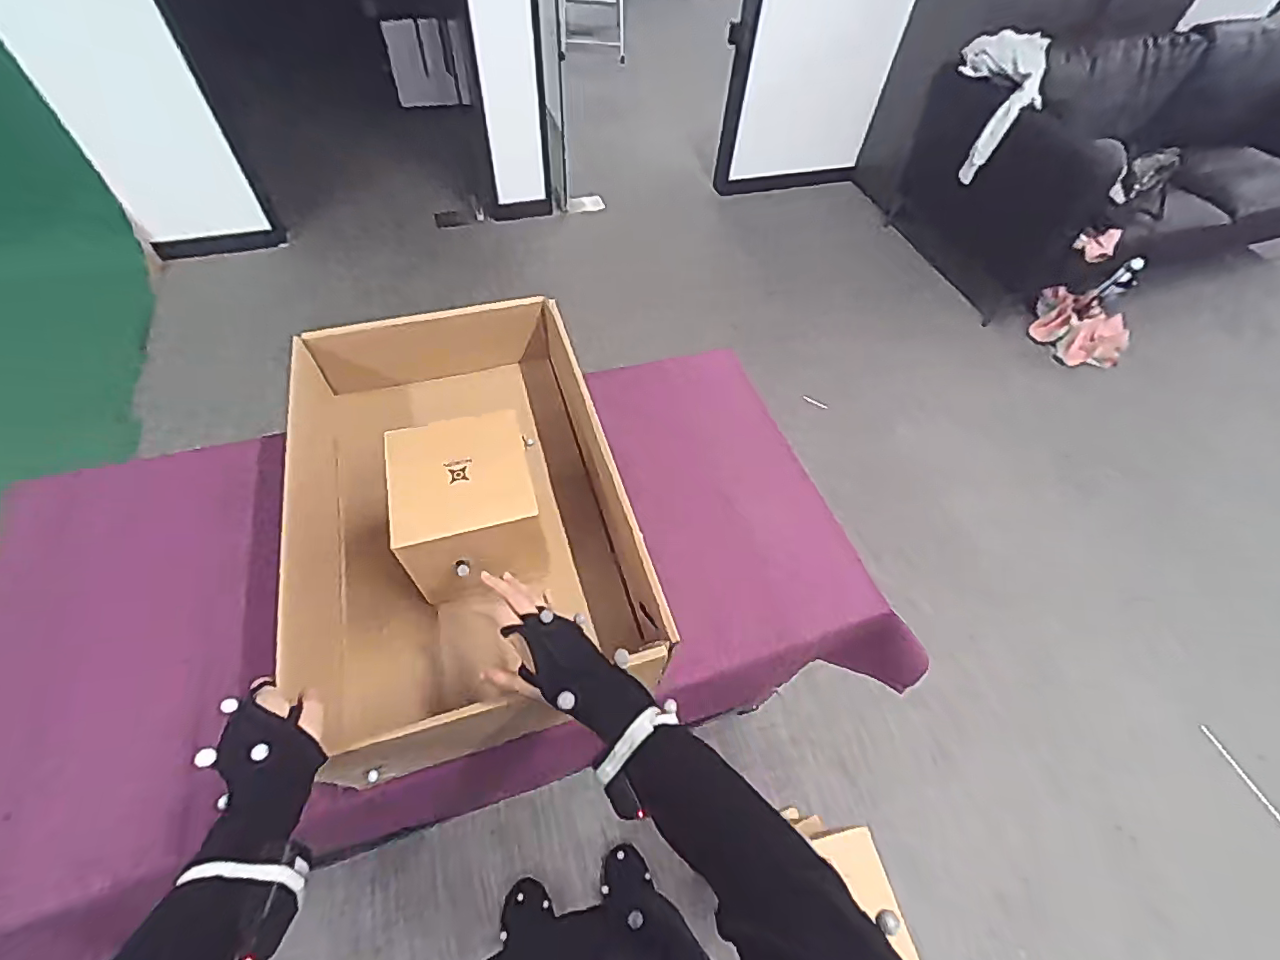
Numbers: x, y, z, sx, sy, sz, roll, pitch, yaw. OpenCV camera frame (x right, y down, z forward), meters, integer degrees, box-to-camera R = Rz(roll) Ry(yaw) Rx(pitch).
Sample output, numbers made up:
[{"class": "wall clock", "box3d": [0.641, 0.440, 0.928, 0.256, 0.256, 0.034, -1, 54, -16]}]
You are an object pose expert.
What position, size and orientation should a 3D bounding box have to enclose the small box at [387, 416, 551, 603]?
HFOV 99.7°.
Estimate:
[{"class": "small box", "box3d": [-0.220, 0.047, 0.717, 0.168, 0.176, 0.179, -13, 56, -12]}]
